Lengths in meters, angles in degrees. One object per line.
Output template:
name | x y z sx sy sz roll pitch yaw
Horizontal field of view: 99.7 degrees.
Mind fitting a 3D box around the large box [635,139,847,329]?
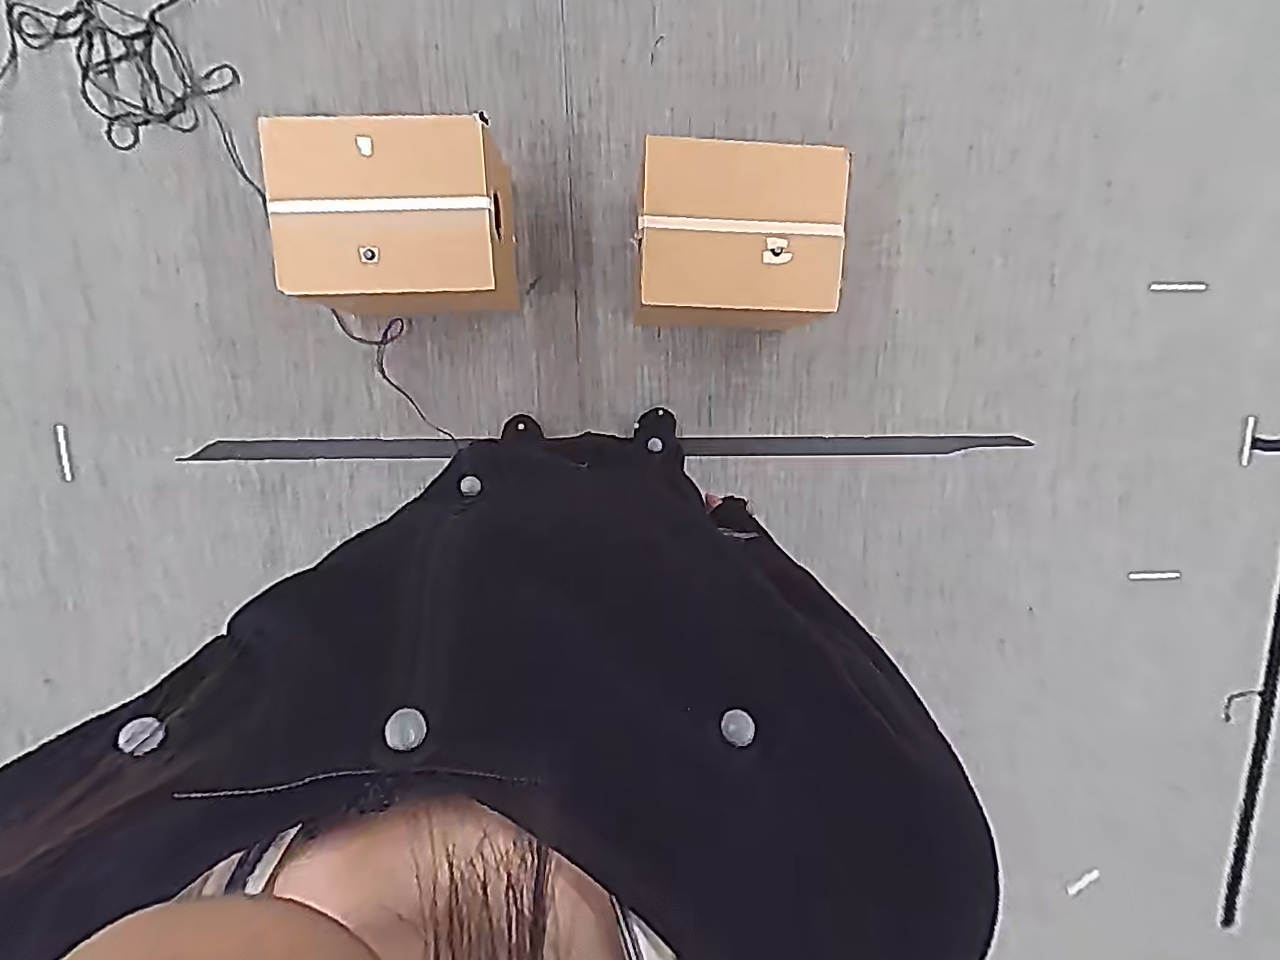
large box | 0.196 -0.523 1.221 0.408 0.320 0.320 1 99 -5
